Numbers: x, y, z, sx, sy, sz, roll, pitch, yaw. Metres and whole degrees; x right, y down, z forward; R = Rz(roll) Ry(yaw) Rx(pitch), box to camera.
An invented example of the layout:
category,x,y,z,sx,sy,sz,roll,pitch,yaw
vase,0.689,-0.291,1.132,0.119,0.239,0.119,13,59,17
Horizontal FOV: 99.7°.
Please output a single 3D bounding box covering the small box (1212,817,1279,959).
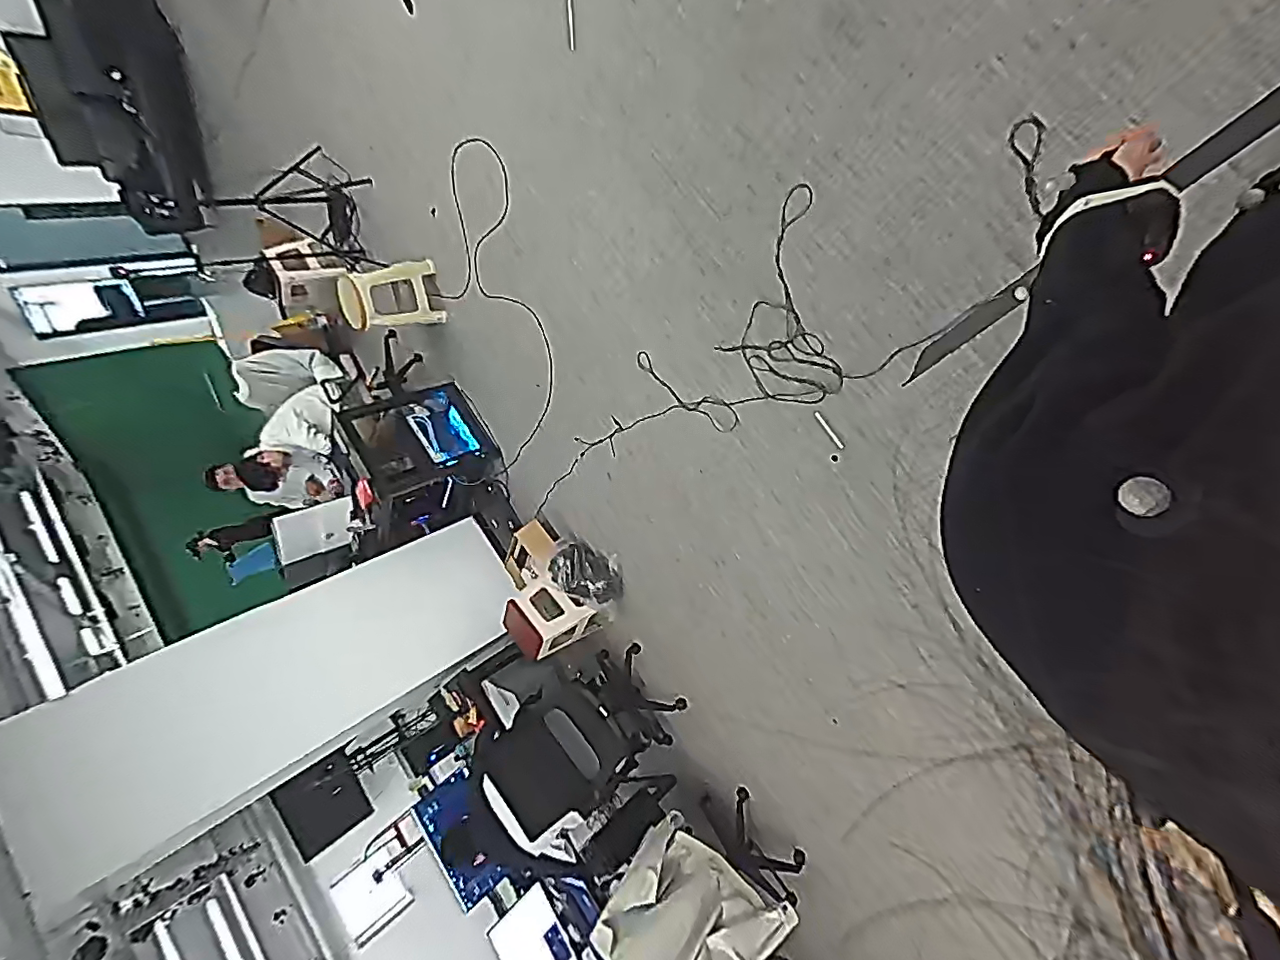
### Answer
category,x,y,z,sx,sy,sz,roll,pitch,yaw
small box,1.141,0.736,0.926,0.179,0.176,0.168,24,126,41
